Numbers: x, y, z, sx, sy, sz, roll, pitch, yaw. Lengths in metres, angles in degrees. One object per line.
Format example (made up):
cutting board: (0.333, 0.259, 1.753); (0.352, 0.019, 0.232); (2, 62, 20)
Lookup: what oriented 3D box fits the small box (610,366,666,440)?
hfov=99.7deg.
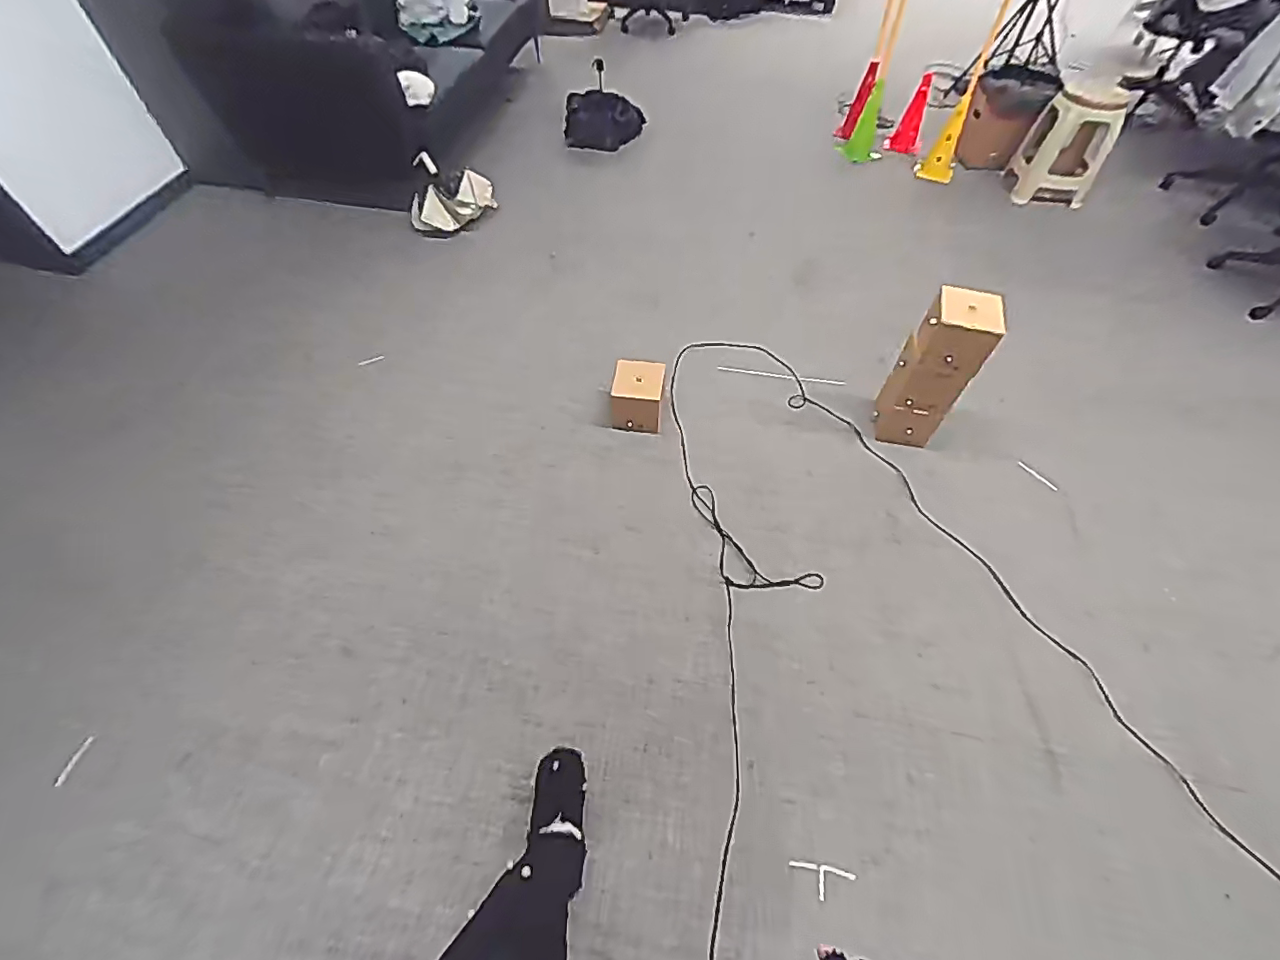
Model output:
small box: (-0.006, -0.266, 1.872); (0.168, 0.176, 0.179); (7, 55, 5)

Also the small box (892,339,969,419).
small box: (0.914, -0.316, 1.711); (0.168, 0.176, 0.179); (11, 54, 7)

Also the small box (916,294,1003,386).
small box: (0.923, -0.407, 1.577); (0.168, 0.176, 0.179); (15, 56, 10)

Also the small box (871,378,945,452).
small box: (0.907, -0.216, 1.845); (0.168, 0.176, 0.179); (10, 57, 2)
